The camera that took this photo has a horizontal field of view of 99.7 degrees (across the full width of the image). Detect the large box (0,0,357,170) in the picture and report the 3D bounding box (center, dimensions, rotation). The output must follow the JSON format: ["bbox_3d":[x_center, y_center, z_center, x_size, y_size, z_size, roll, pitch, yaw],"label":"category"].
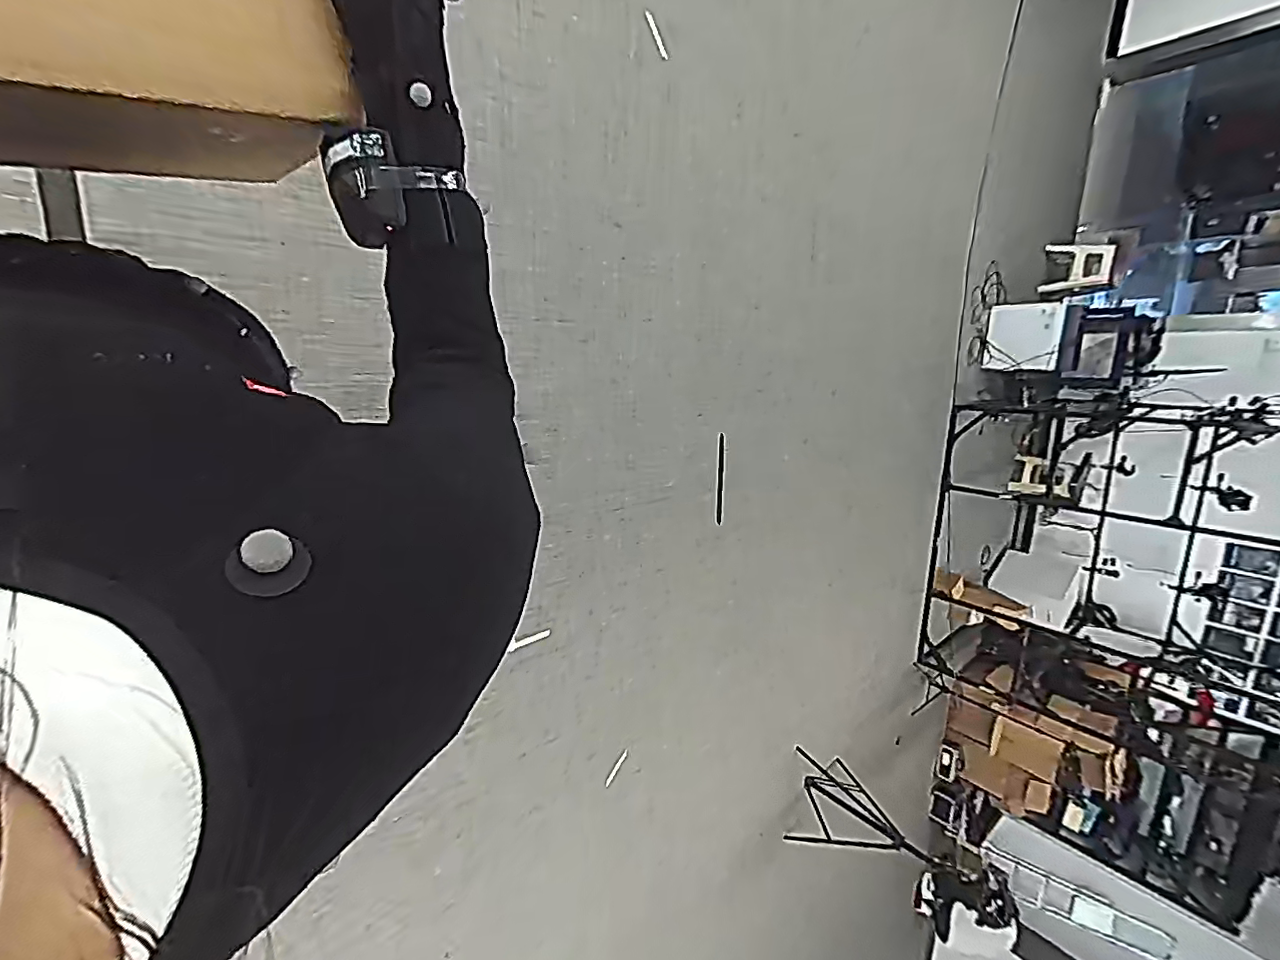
[{"bbox_3d":[-0.442,-0.370,0.288,0.408,0.320,0.320,-21,120,-39],"label":"large box"}]
